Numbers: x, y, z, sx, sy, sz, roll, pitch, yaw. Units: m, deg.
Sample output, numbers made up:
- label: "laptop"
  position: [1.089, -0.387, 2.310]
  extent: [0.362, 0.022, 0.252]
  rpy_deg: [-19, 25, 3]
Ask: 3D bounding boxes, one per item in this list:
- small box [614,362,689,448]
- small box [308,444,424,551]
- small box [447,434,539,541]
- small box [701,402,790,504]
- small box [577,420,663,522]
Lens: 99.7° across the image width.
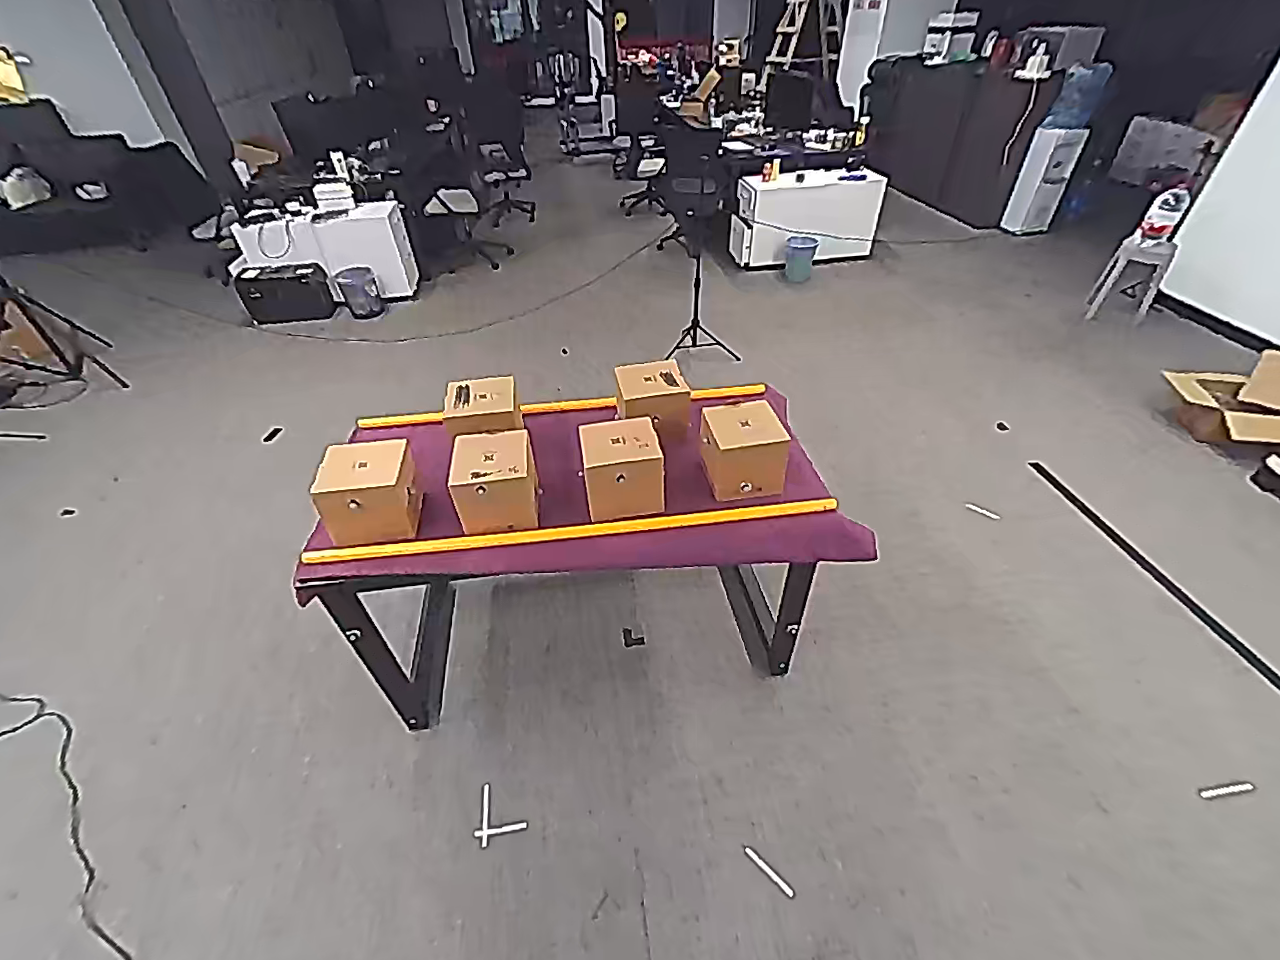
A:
- label: "small box"
  position: [0.029, -0.198, 1.472]
  extent: [0.179, 0.176, 0.168]
  rpy_deg: [-9, 43, -6]
- label: "small box"
  position: [-0.609, 0.041, 1.231]
  extent: [0.179, 0.176, 0.168]
  rpy_deg: [-7, 41, -6]
- label: "small box"
  position: [-0.331, 0.016, 1.246]
  extent: [0.168, 0.176, 0.179]
  rpy_deg: [-7, 41, -5]
- label: "small box"
  position: [0.245, -0.067, 1.307]
  extent: [0.168, 0.176, 0.179]
  rpy_deg: [-9, 39, -5]
- label: "small box"
  position: [-0.047, -0.018, 1.268]
  extent: [0.179, 0.176, 0.168]
  rpy_deg: [-8, 40, -7]
